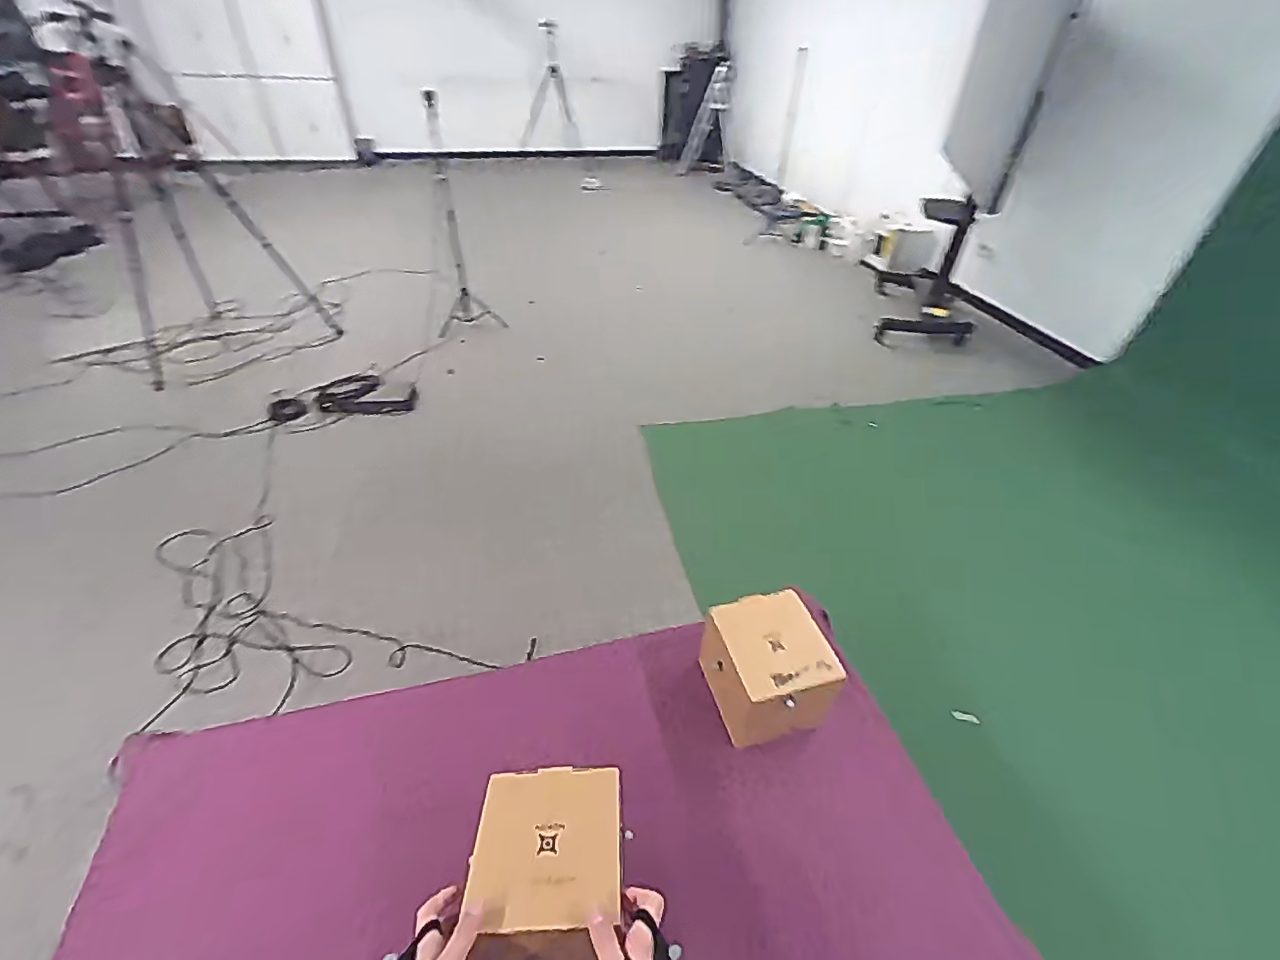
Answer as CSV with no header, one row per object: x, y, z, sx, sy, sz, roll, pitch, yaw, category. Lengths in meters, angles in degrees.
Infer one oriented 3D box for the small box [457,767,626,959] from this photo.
-0.102,0.475,0.641,0.168,0.176,0.179,-1,27,-1,small box

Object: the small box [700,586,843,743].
0.212,0.315,0.931,0.168,0.176,0.179,-10,42,-13,small box
